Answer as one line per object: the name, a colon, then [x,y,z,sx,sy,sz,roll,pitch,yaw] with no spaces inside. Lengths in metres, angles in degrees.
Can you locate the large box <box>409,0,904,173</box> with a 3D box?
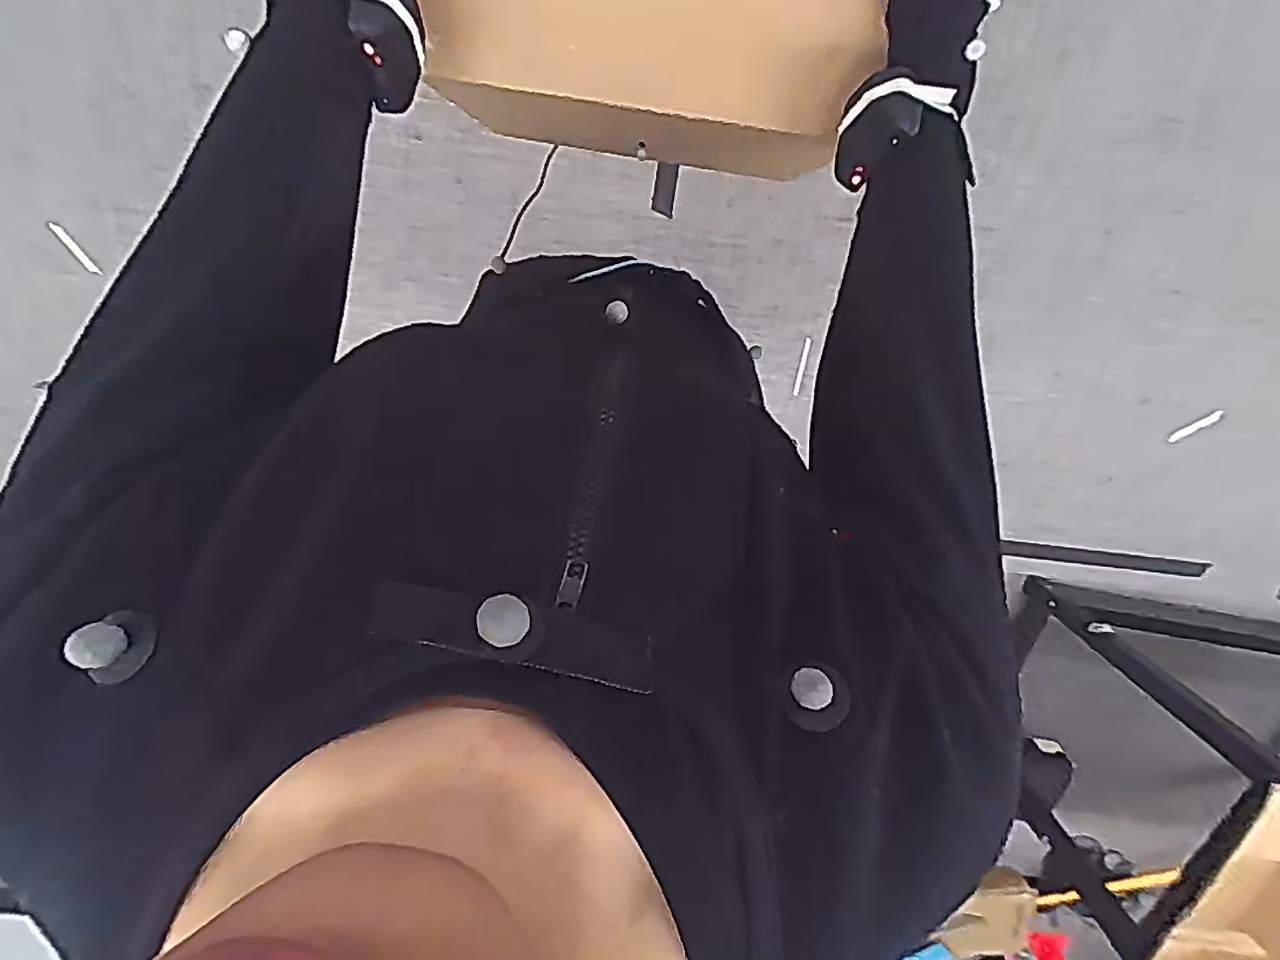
large box: [0.029,-0.519,0.538,0.408,0.320,0.320,8,113,-2]
